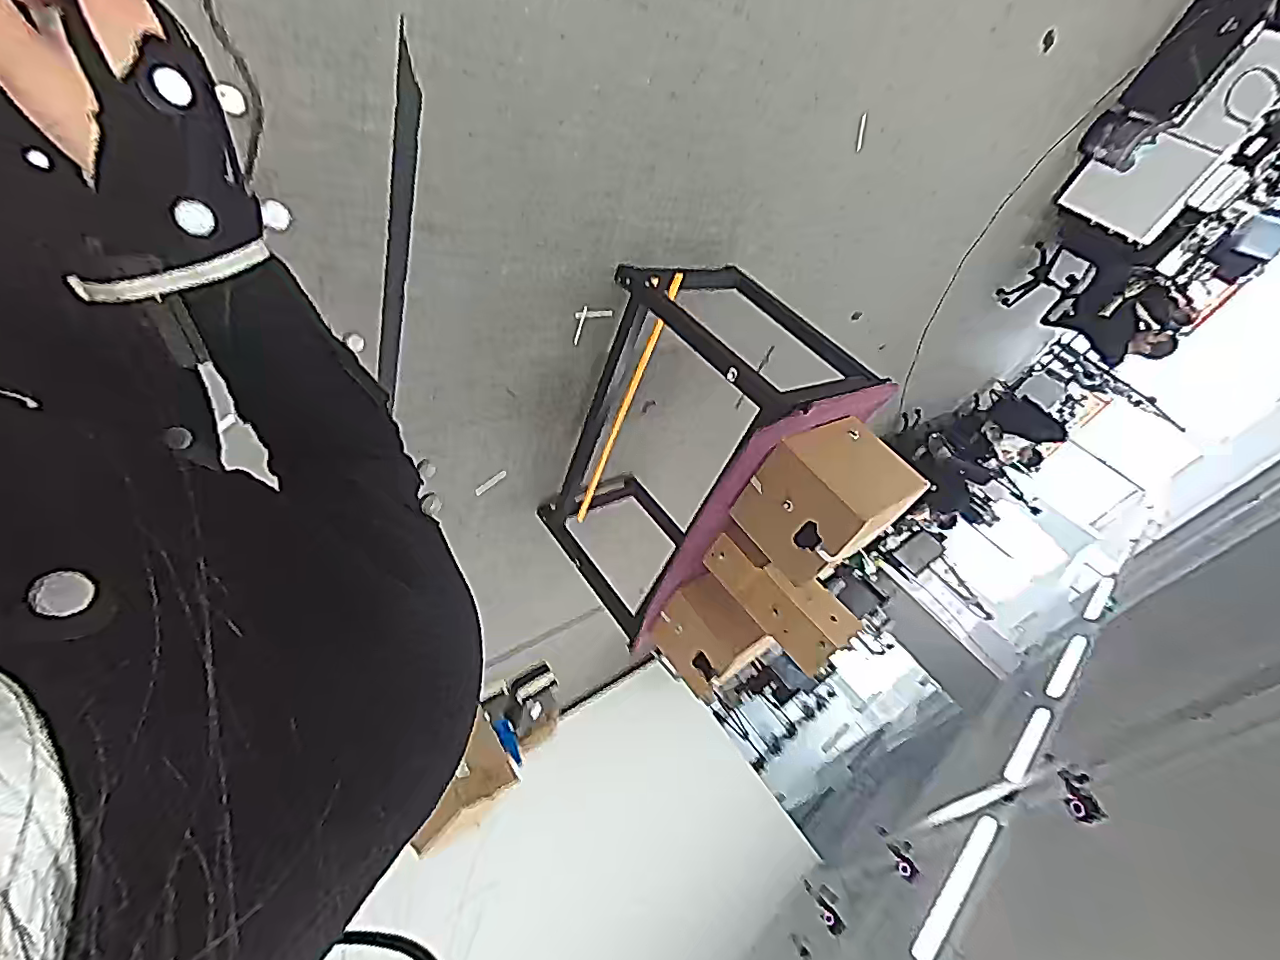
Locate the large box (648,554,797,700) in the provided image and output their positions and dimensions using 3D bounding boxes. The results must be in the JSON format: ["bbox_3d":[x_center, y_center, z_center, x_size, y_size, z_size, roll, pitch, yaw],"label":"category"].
[{"bbox_3d":[0.302,0.539,2.037,0.408,0.320,0.320,-19,147,-41],"label":"large box"}]
